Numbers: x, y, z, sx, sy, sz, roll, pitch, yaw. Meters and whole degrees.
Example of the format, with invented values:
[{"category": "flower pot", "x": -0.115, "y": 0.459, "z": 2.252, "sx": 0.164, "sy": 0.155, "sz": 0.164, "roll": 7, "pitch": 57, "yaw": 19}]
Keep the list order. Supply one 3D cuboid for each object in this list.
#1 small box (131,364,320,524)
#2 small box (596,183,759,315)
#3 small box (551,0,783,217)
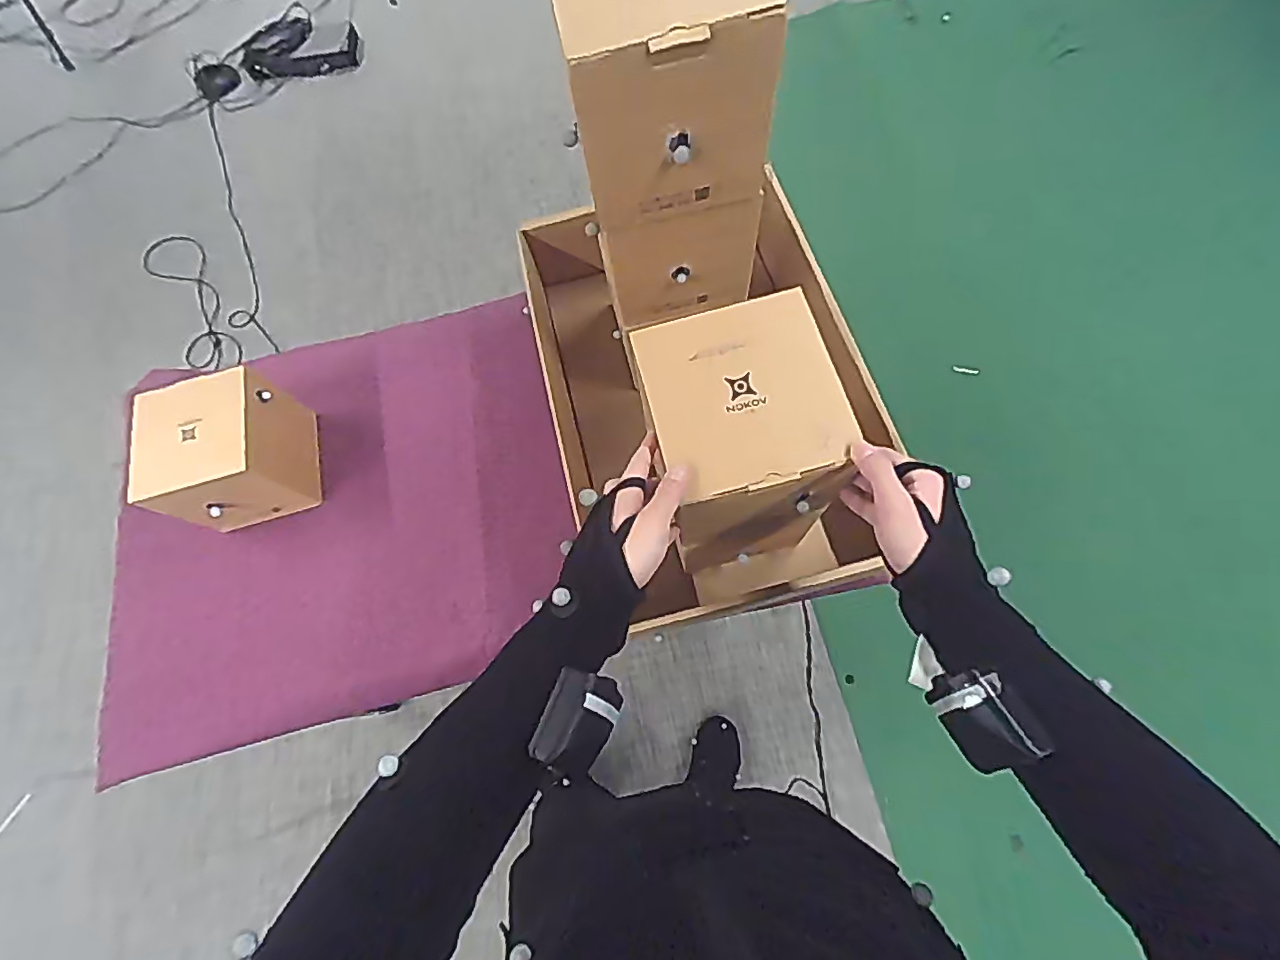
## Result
[{"category": "small box", "x": -0.621, "y": -0.044, "z": 0.832, "sx": 0.168, "sy": 0.176, "sz": 0.179, "roll": -16, "pitch": 68, "yaw": -1}, {"category": "small box", "x": 0.034, "y": -0.319, "z": 0.646, "sx": 0.168, "sy": 0.176, "sz": 0.179, "roll": -13, "pitch": 70, "yaw": 1}, {"category": "small box", "x": 0.017, "y": -0.369, "z": 0.491, "sx": 0.168, "sy": 0.176, "sz": 0.179, "roll": -12, "pitch": 72, "yaw": 1}]
